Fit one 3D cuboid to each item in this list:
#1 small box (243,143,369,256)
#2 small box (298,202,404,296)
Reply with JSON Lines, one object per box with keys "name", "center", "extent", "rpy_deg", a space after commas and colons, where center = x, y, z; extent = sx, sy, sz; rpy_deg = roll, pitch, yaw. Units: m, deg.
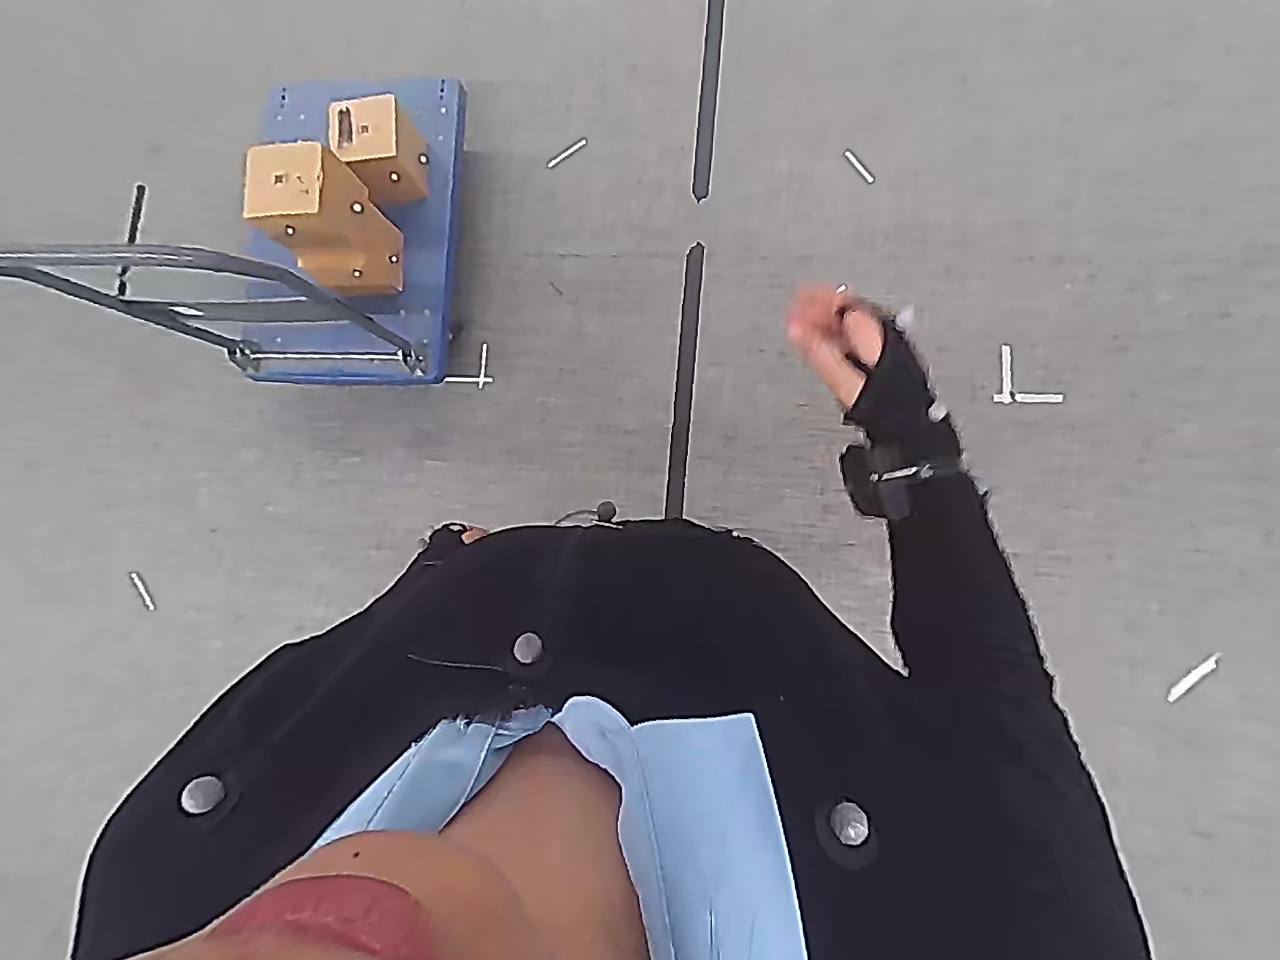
{"name": "small box", "center": [-0.753, -0.630, 1.232], "extent": [0.179, 0.176, 0.168], "rpy_deg": [-1, 84, 5]}
{"name": "small box", "center": [-0.738, -0.587, 1.392], "extent": [0.179, 0.176, 0.168], "rpy_deg": [-1, 84, 5]}
